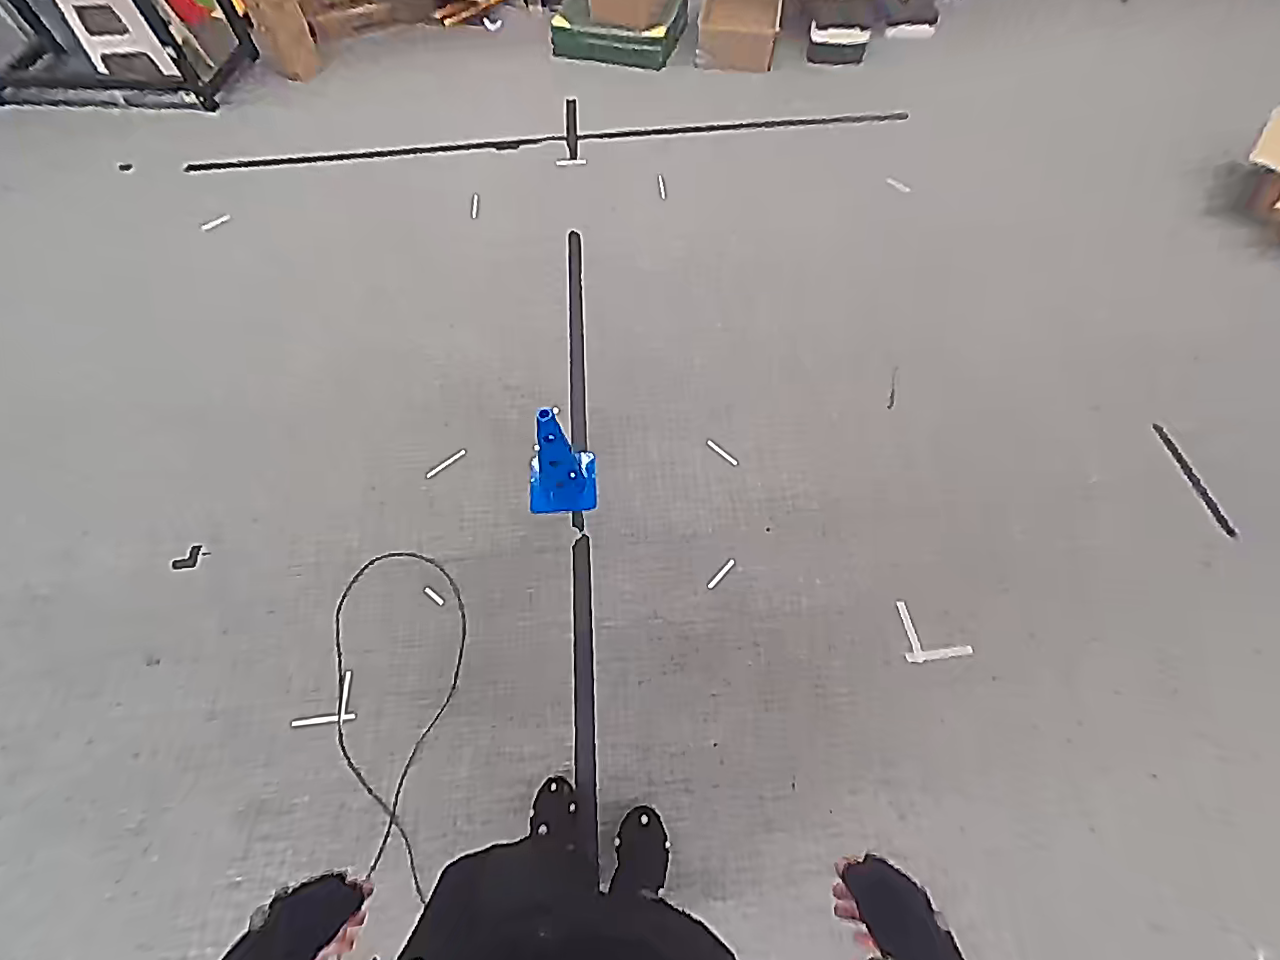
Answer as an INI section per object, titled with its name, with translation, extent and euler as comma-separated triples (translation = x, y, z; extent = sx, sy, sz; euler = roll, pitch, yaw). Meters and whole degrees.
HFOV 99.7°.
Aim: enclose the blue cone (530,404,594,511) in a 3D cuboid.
[blue cone]
translation = -0.238, -0.075, 1.474
extent = 0.193, 0.380, 0.192
euler = -6, 62, -2
